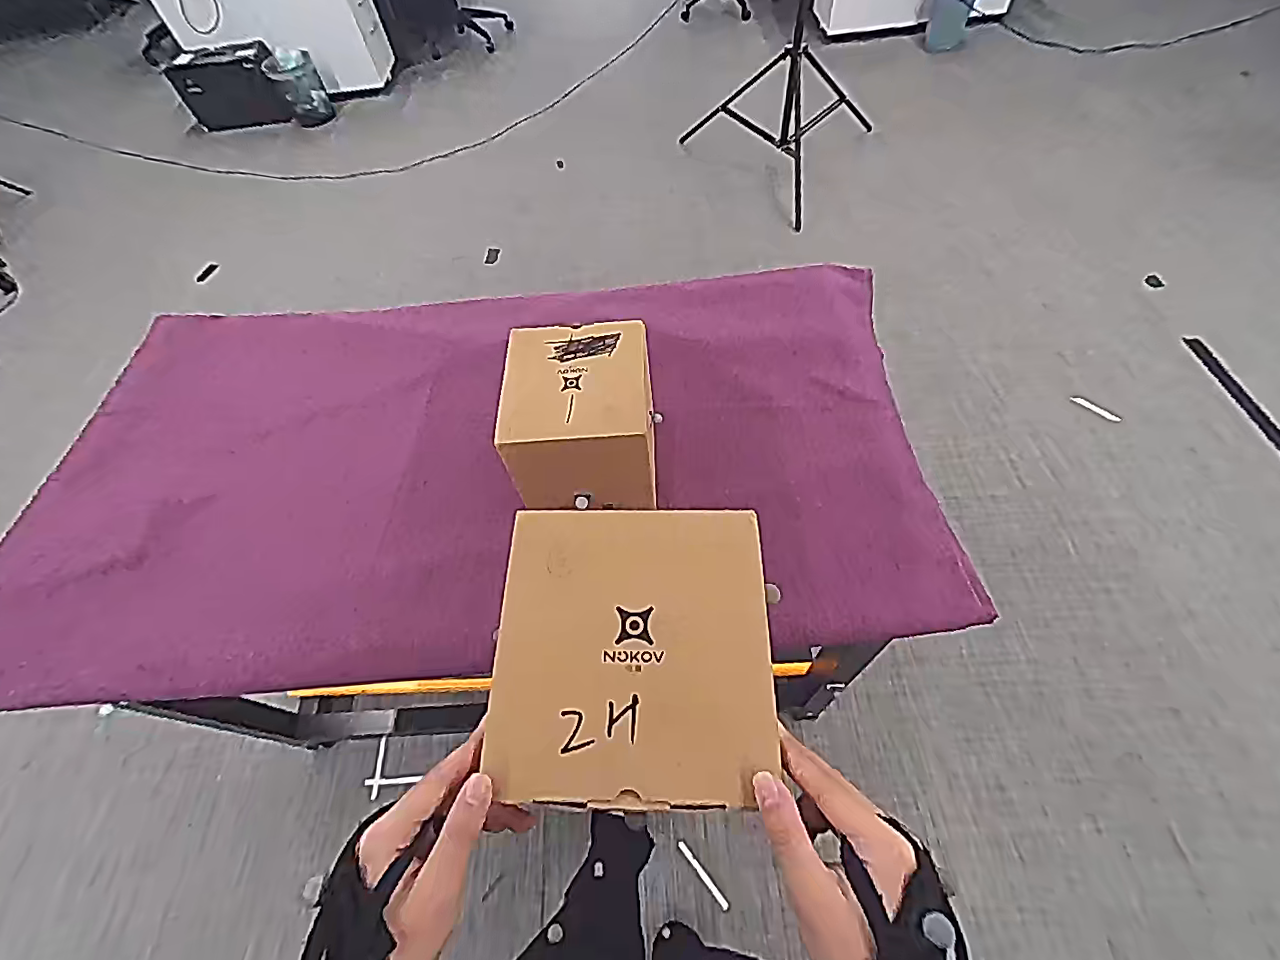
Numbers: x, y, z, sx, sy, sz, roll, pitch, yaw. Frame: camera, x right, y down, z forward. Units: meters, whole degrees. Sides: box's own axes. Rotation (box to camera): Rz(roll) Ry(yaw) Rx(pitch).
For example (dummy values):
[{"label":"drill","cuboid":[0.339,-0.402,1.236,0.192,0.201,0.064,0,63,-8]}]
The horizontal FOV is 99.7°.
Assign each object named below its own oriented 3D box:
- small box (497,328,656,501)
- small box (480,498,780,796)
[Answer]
[{"label":"small box","cuboid":[-0.067,-0.068,0.688,0.168,0.176,0.179,-3,57,4]},{"label":"small box","cuboid":[0.000,0.129,0.400,0.168,0.176,0.179,0,60,3]}]
